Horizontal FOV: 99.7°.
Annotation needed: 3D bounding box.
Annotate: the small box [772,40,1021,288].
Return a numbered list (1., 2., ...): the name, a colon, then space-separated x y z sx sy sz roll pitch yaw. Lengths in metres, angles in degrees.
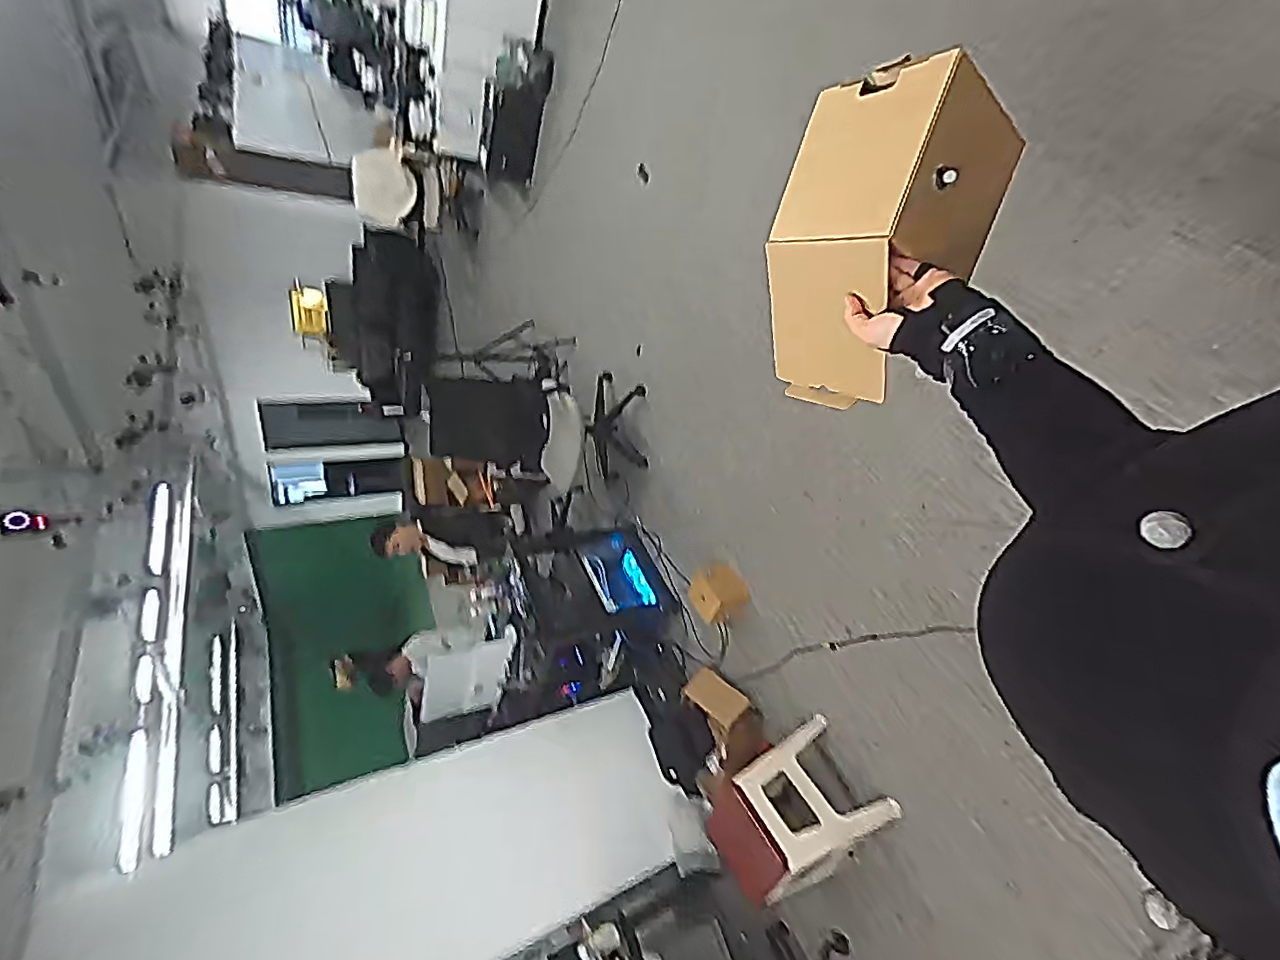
1. small box: 0.289 -0.333 0.614 0.168 0.176 0.179 32 105 51
